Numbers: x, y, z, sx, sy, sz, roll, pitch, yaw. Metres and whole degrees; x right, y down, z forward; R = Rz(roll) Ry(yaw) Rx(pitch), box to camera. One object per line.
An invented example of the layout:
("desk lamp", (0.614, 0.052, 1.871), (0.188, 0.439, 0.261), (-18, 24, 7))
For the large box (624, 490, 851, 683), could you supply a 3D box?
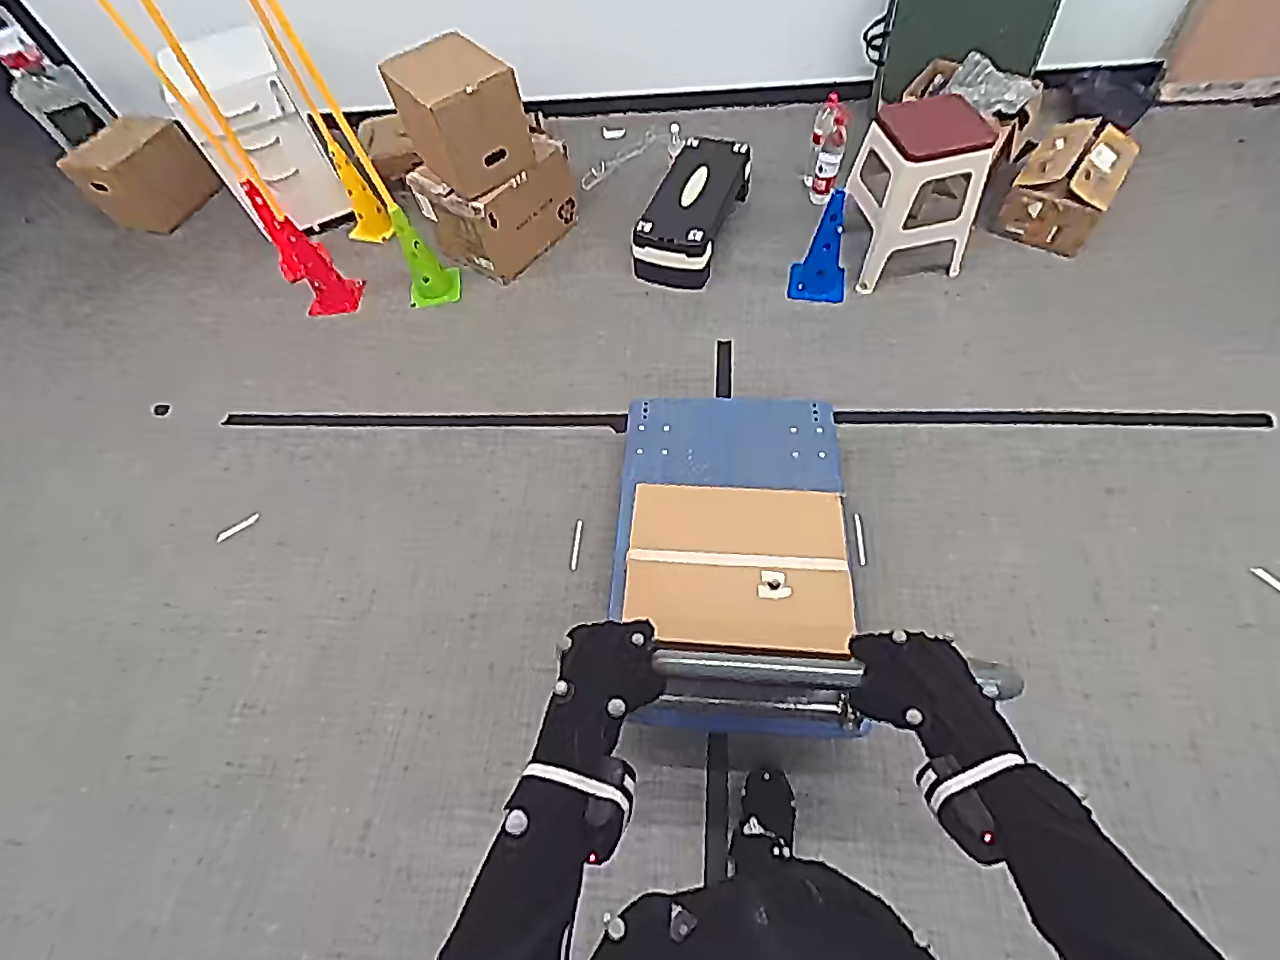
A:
("large box", (0.185, 0.234, 1.148), (0.408, 0.320, 0.320), (3, 60, 5))
